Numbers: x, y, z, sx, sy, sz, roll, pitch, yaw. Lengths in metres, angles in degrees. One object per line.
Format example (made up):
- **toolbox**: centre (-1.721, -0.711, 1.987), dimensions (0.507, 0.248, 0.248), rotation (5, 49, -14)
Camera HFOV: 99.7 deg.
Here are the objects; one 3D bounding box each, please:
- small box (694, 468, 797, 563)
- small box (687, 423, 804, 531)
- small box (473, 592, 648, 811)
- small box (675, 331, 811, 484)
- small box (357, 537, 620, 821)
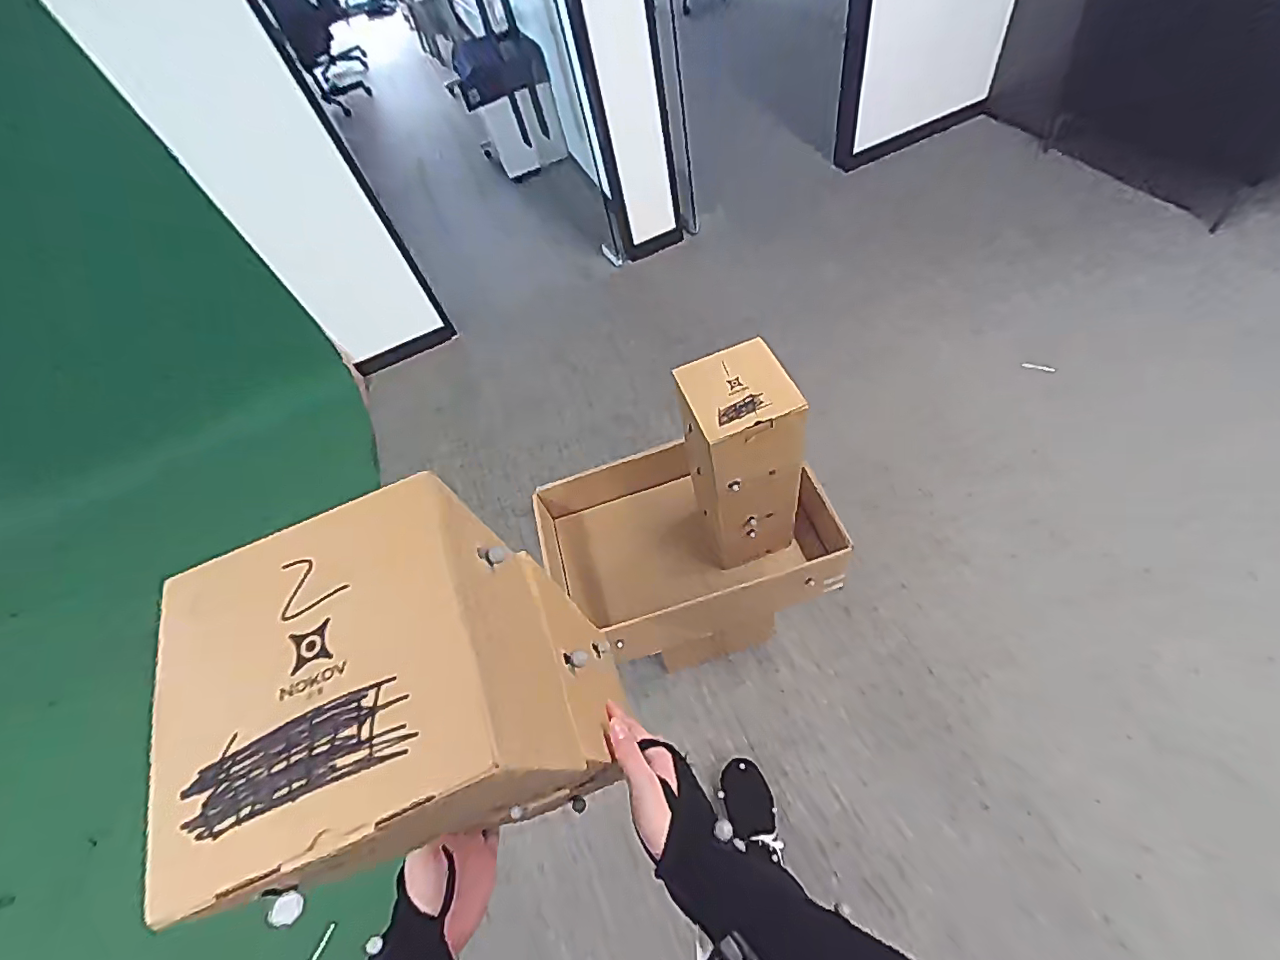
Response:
- **small box**: centre (0.230, 0.054, 1.195), dimensions (0.168, 0.176, 0.179), rotation (-20, 55, 0)
- **small box**: centre (0.202, -0.029, 1.059), dimensions (0.168, 0.176, 0.179), rotation (-20, 56, -1)
- **small box**: centre (-0.102, 0.261, 0.635), dimensions (0.168, 0.176, 0.179), rotation (-22, 61, -2)
- **small box**: centre (0.174, -0.113, 0.921), dimensions (0.168, 0.176, 0.179), rotation (-20, 55, -1)
- **small box**: centre (-0.129, 0.183, 0.496), dimensions (0.168, 0.176, 0.179), rotation (-21, 62, -3)
